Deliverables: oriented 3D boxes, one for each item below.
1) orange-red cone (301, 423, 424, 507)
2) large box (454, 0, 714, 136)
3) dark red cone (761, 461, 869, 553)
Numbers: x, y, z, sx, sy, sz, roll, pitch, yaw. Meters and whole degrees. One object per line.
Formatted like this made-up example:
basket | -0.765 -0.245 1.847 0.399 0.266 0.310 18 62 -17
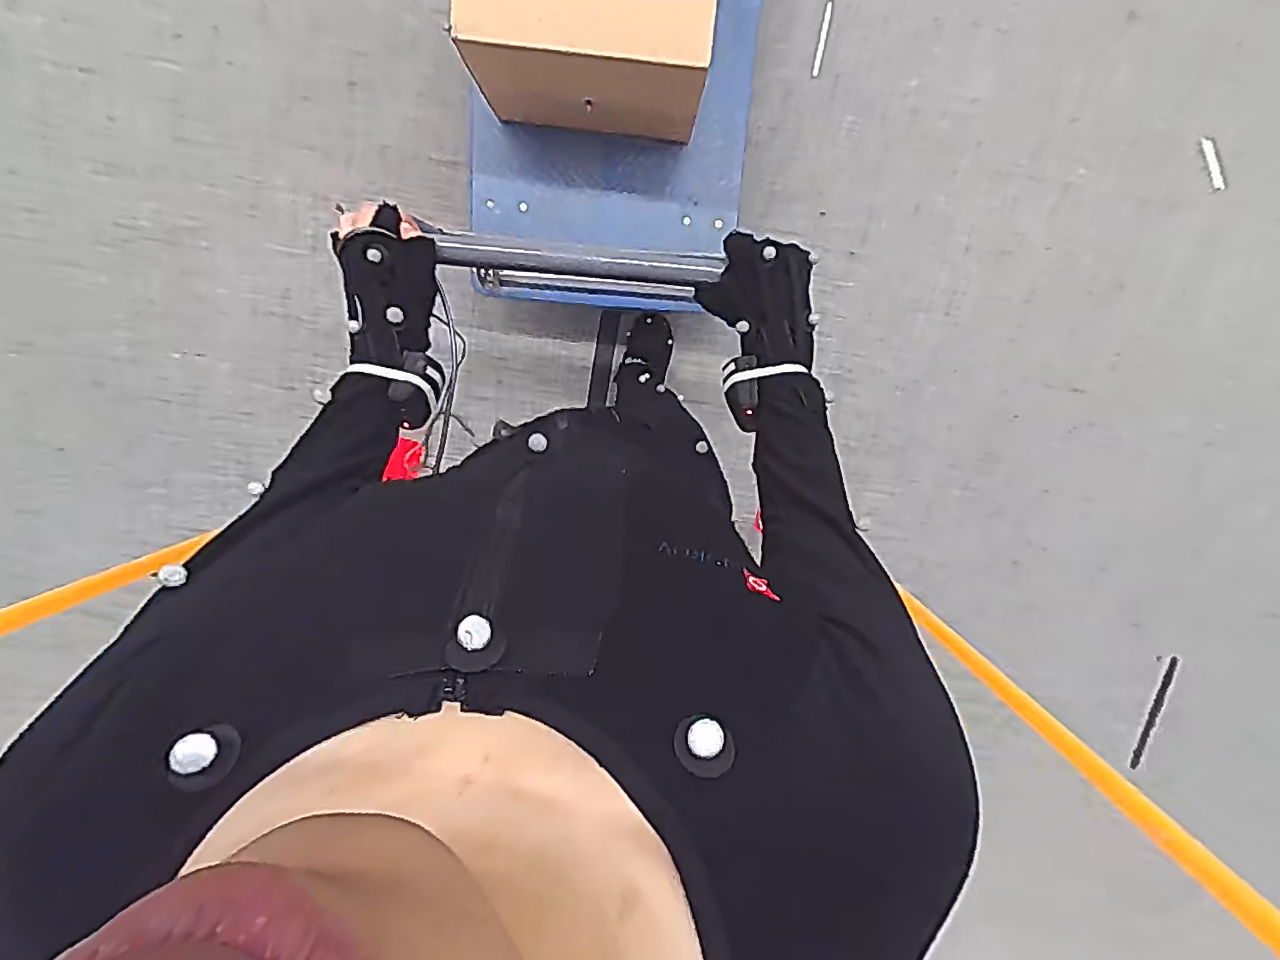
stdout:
orange-red cone | -0.687 -0.003 1.283 0.198 0.360 0.199 16 101 -5
large box | -0.079 -0.842 0.951 0.408 0.320 0.320 5 103 -1
dark red cone | 0.444 0.091 1.303 0.201 0.394 0.202 8 103 -5
